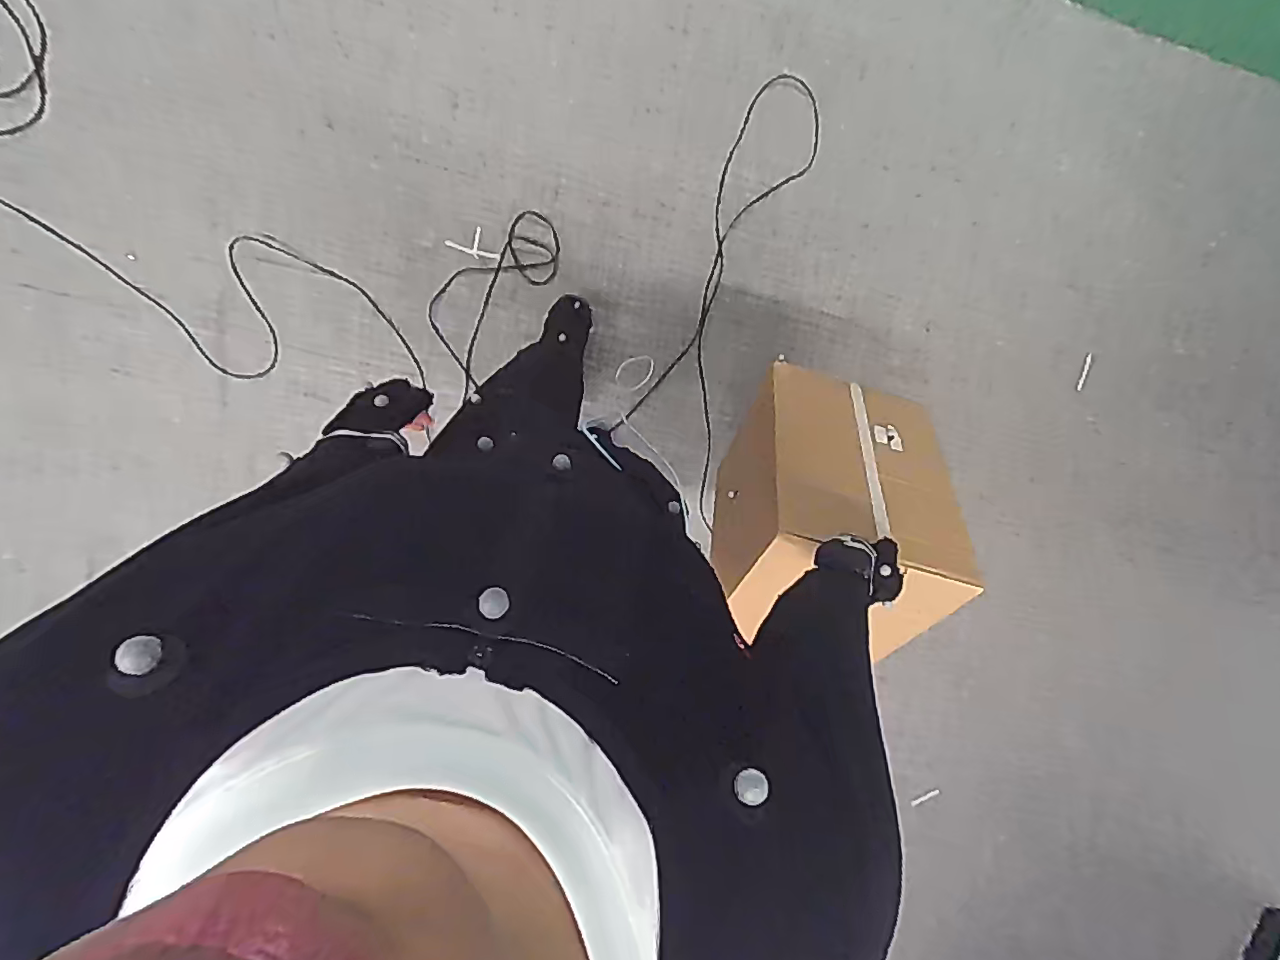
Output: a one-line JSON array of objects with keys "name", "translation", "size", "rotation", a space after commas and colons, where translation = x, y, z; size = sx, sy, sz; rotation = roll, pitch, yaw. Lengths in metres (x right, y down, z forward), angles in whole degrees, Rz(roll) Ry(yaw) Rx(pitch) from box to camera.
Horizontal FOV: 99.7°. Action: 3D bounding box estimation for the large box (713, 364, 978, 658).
[{"name": "large box", "translation": [0.334, 0.059, 1.004], "size": [0.320, 0.408, 0.320], "rotation": [16, 138, -5]}]
